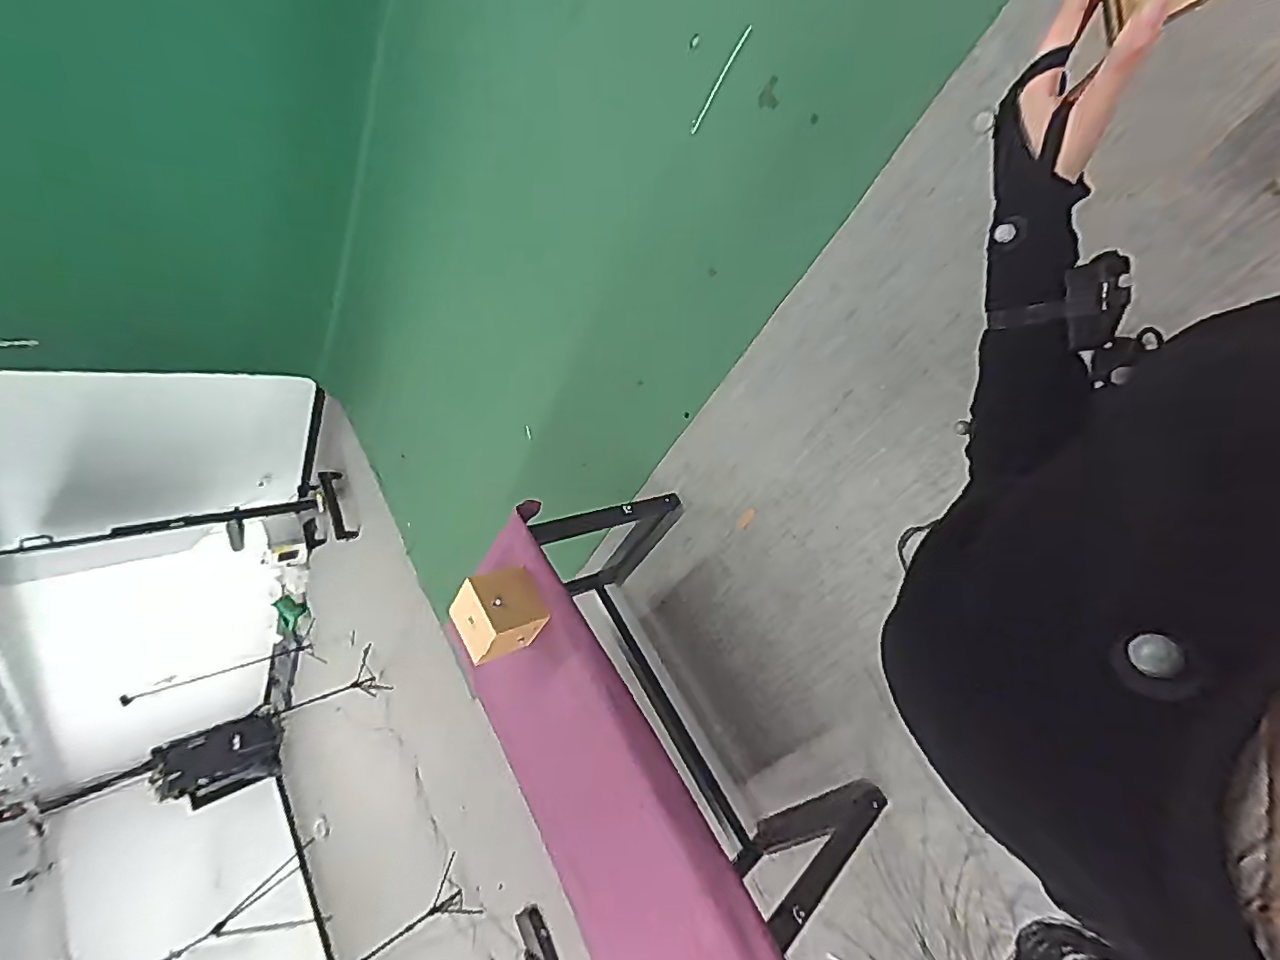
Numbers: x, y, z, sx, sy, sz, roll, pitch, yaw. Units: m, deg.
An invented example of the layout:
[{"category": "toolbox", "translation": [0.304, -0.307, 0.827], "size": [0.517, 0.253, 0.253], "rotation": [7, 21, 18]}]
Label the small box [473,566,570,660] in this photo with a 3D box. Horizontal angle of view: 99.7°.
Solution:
[{"category": "small box", "translation": [-0.322, 0.352, 1.470], "size": [0.179, 0.176, 0.168], "rotation": [53, 129, 23]}]

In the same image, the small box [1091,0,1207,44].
[{"category": "small box", "translation": [0.345, -0.391, 0.300], "size": [0.168, 0.176, 0.179], "rotation": [-19, 106, 42]}]
